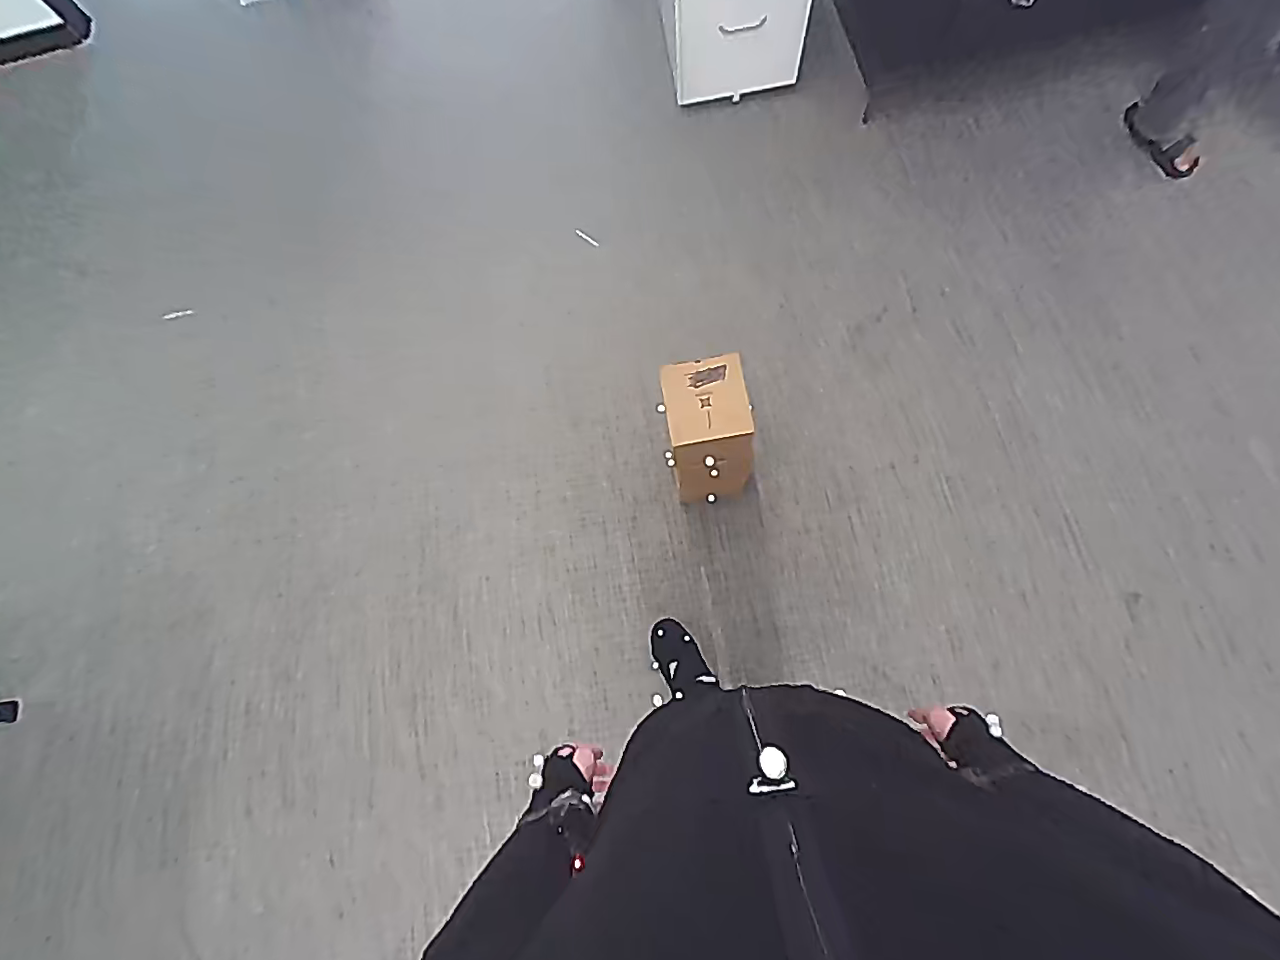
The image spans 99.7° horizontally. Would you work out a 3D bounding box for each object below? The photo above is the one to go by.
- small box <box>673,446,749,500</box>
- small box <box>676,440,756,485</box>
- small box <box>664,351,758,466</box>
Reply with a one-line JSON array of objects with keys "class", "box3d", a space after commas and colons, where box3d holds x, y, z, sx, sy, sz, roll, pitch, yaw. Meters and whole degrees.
[{"class": "small box", "box3d": [0.185, -0.053, 1.458, 0.179, 0.176, 0.168, -9, 73, 3]}, {"class": "small box", "box3d": [0.170, -0.095, 1.301, 0.179, 0.176, 0.168, -10, 74, 2]}, {"class": "small box", "box3d": [0.144, -0.146, 1.147, 0.168, 0.176, 0.179, -9, 75, 4]}]
